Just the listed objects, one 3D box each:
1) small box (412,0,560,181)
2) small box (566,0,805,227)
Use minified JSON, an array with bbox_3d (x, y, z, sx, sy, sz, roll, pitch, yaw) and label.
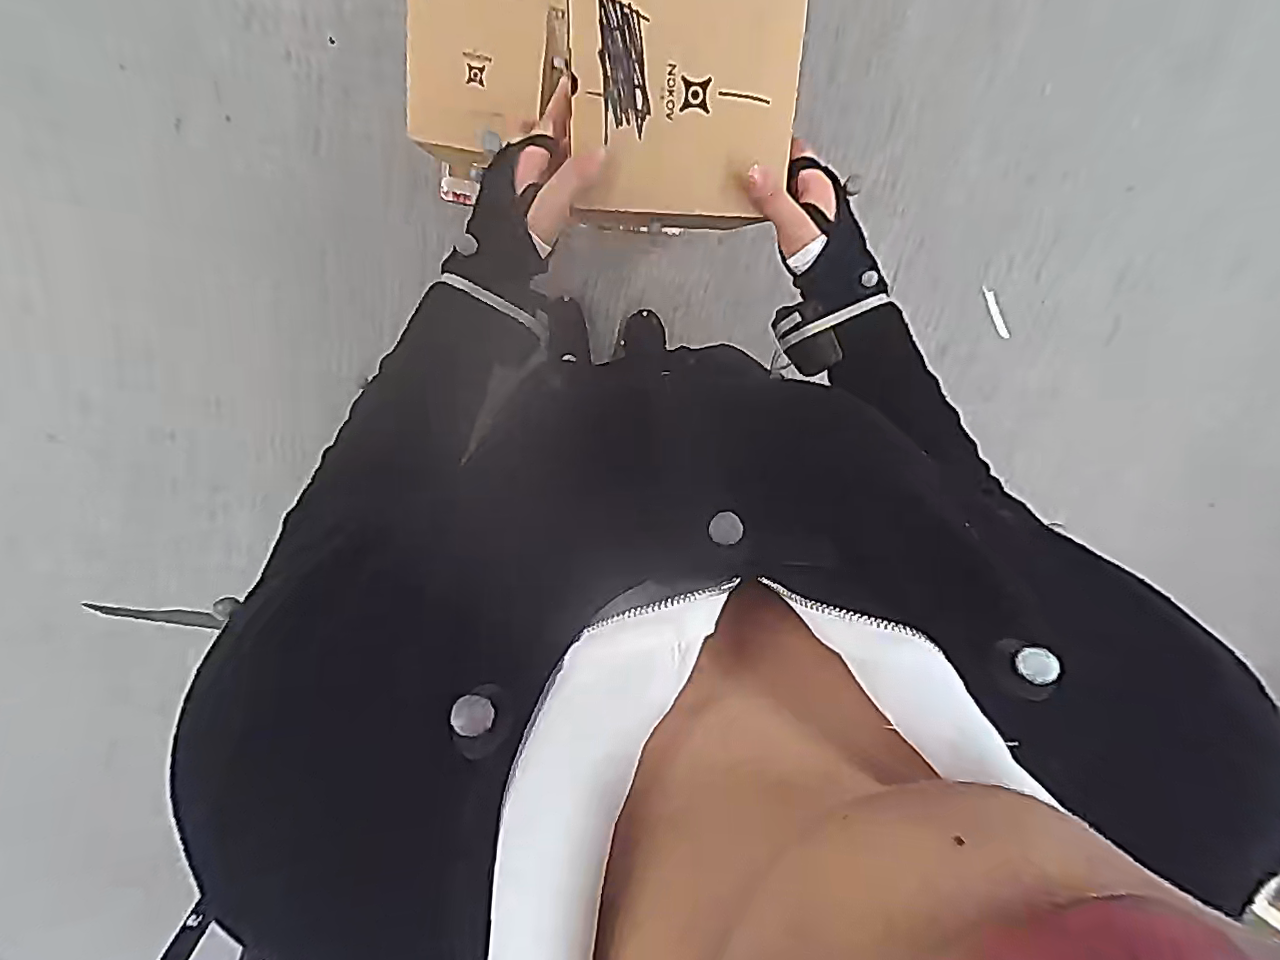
[{"bbox_3d":[-0.204,-0.535,0.746,0.168,0.176,0.179,7,111,-5],"label":"small box"},{"bbox_3d":[0.025,-0.324,0.484,0.179,0.176,0.168,-1,112,-7],"label":"small box"}]
